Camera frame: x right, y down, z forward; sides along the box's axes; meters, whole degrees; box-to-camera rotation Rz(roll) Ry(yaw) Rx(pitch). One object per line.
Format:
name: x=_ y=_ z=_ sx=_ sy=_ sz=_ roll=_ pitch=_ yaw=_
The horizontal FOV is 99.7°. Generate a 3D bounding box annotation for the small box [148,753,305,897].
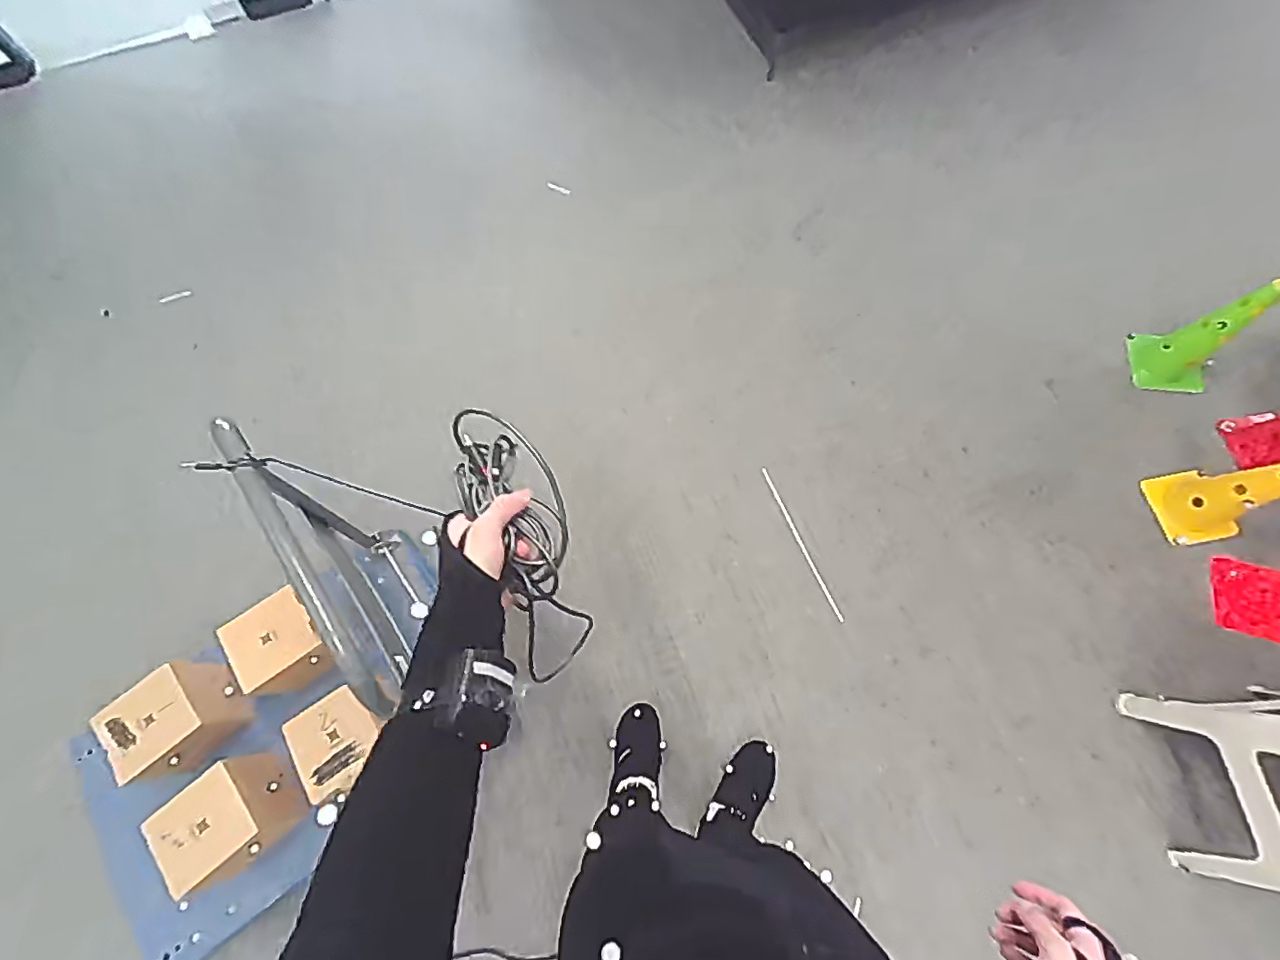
small box: x=-0.835 y=0.693 z=1.116 sx=0.179 sy=0.176 sz=0.168 roll=-40 pitch=72 yaw=-13

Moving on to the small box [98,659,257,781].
small box: x=-1.002 y=0.519 z=1.186 sx=0.179 sy=0.176 sz=0.168 roll=-39 pitch=74 yaw=-13

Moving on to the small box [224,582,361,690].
small box: x=-0.788 y=0.363 z=1.242 sx=0.179 sy=0.176 sz=0.168 roll=-35 pitch=72 yaw=-12
